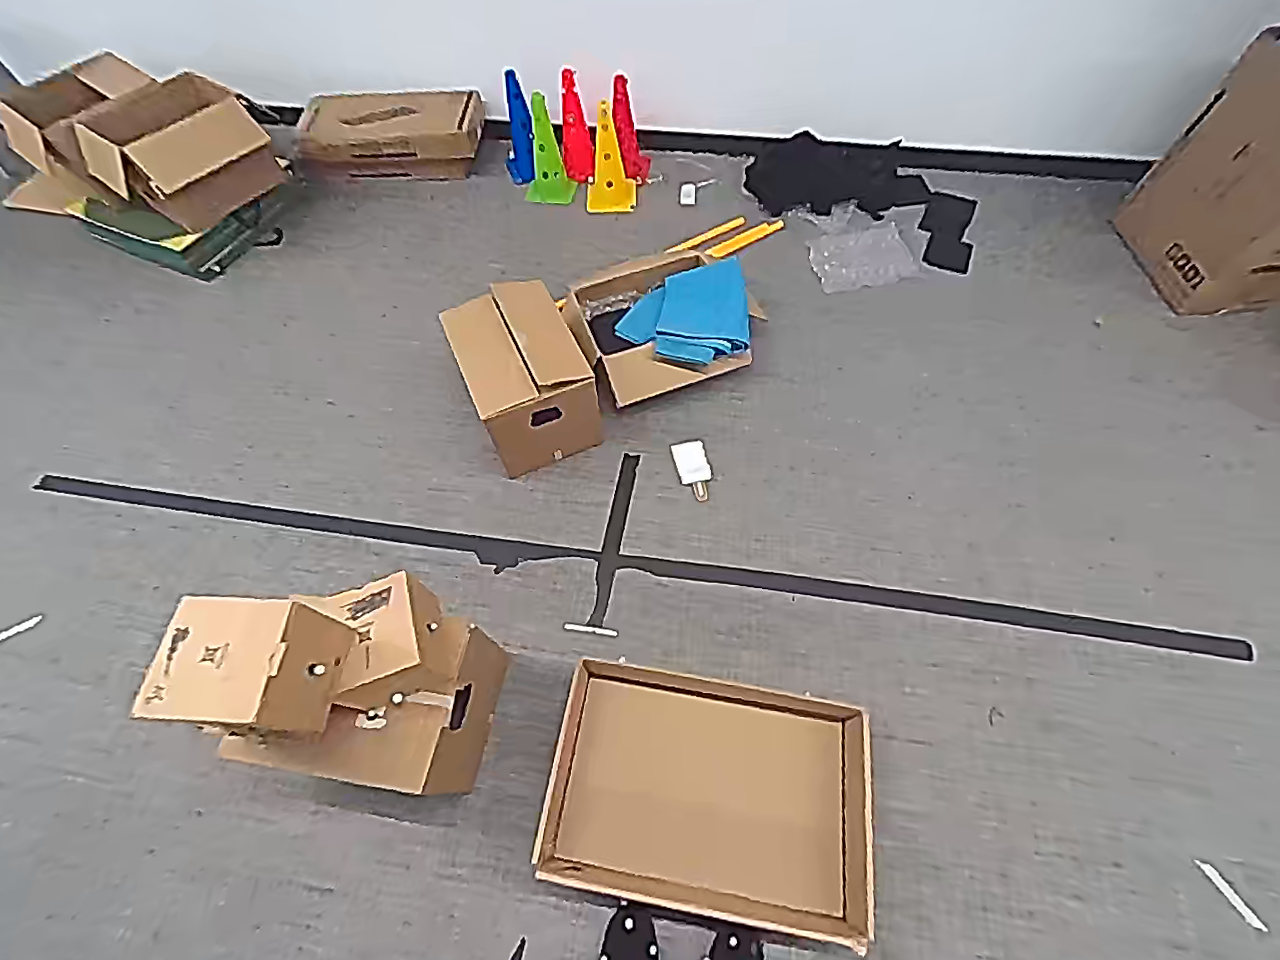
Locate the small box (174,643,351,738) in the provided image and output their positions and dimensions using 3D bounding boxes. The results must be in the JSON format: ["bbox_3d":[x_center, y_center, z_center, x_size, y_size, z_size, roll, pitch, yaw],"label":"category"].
[{"bbox_3d":[-0.653,0.353,0.965,0.168,0.176,0.179,7,61,3],"label":"small box"}]

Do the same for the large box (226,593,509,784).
[{"bbox_3d":[-0.547,0.461,1.179,0.408,0.320,0.320,7,63,5],"label":"large box"}]

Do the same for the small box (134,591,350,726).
[{"bbox_3d":[-0.578,0.275,0.818,0.179,0.176,0.168,2,62,4],"label":"small box"}]
